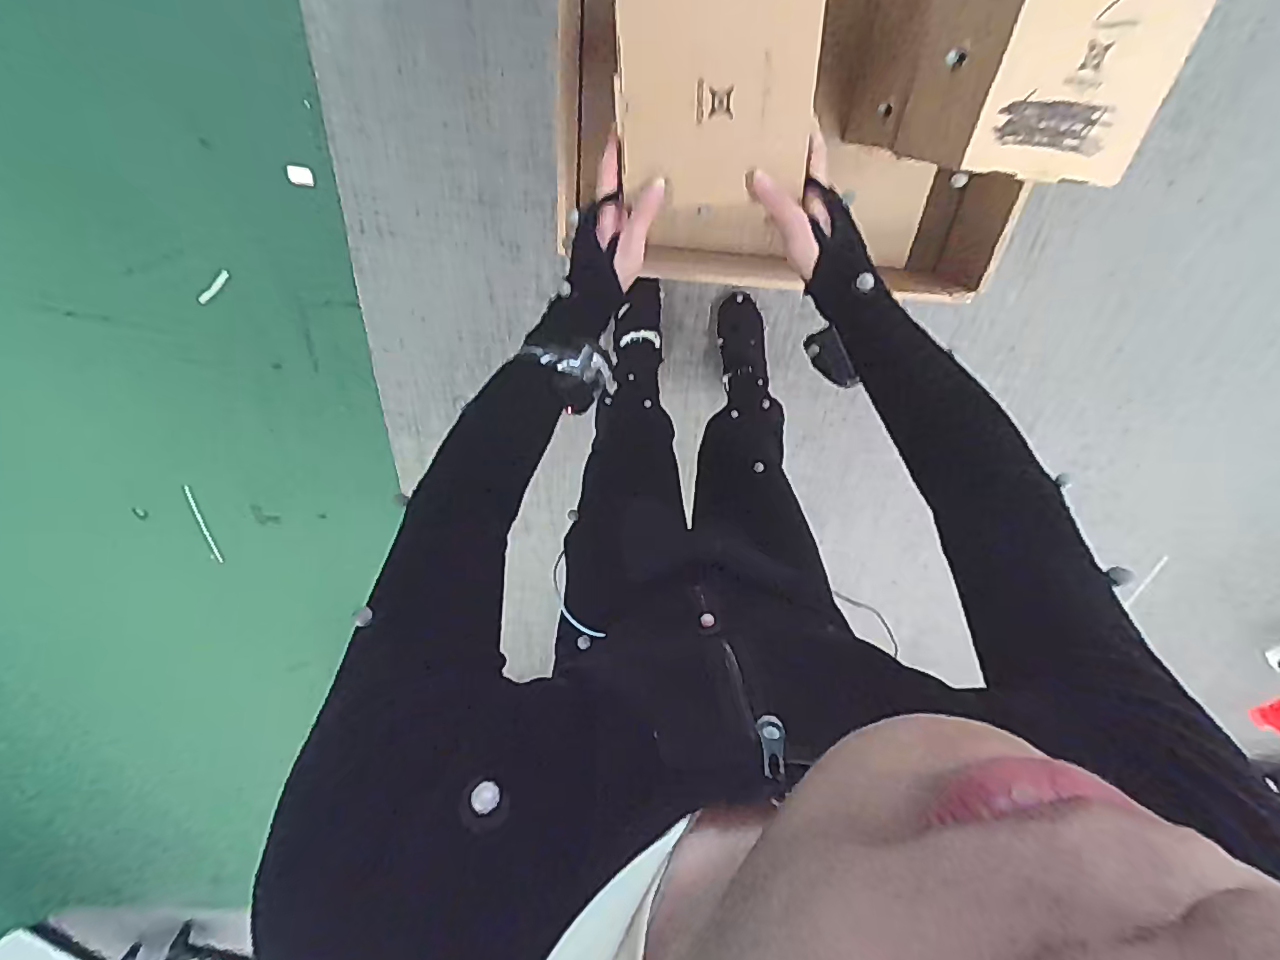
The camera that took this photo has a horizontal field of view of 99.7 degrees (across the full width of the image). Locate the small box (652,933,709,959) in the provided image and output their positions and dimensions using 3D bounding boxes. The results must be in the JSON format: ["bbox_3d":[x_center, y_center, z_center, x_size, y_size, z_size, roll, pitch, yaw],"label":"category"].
[{"bbox_3d":[0.123,1.527,1.667,0.179,0.176,0.168,0,124,1],"label":"small box"}]

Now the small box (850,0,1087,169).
[{"bbox_3d":[0.389,-0.506,0.679,0.168,0.176,0.179,4,125,-4],"label":"small box"}]

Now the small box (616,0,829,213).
[{"bbox_3d":[0.070,-0.369,0.548,0.179,0.176,0.168,-2,122,1],"label":"small box"}]
